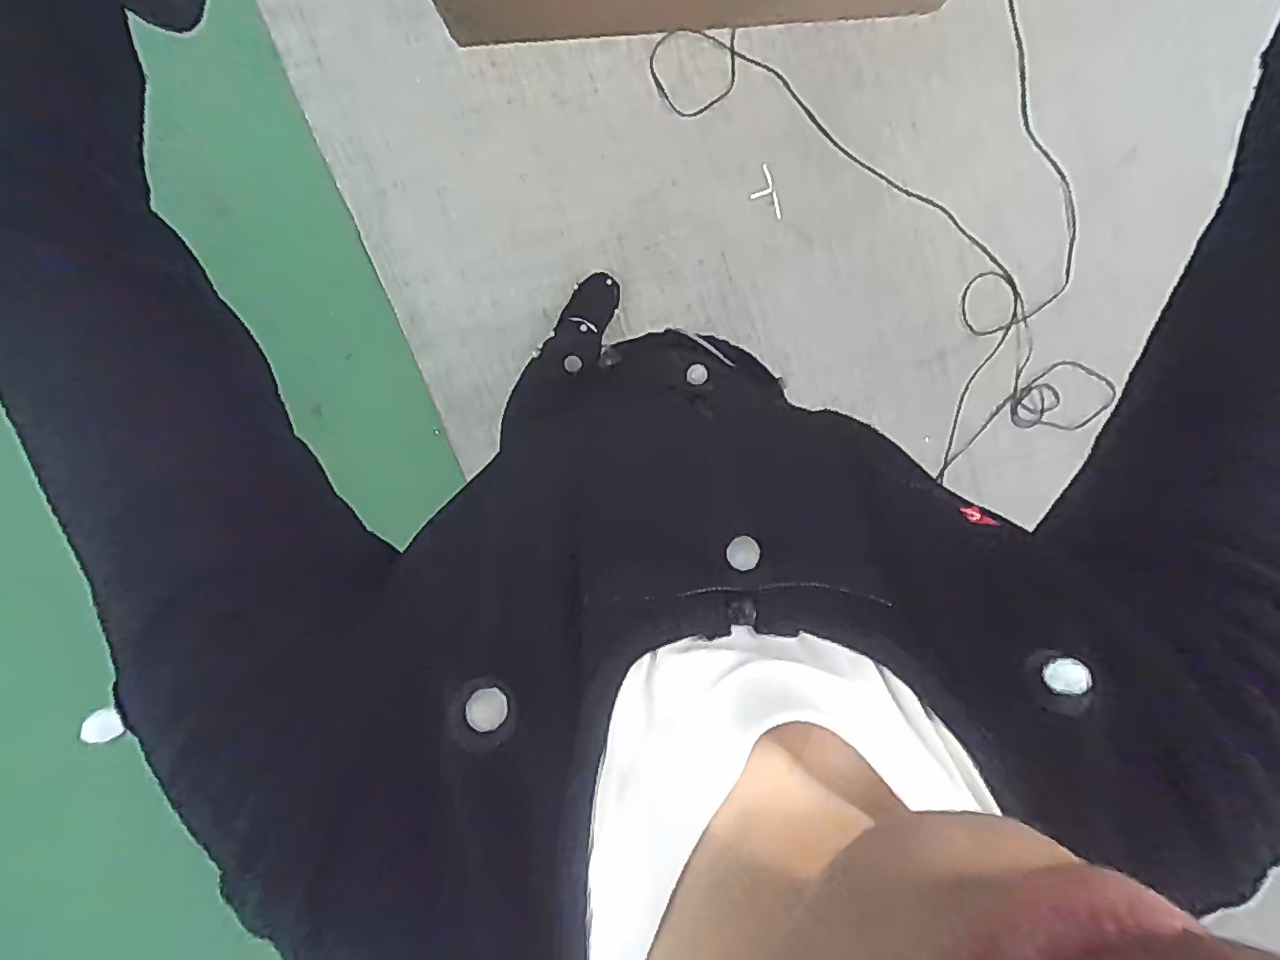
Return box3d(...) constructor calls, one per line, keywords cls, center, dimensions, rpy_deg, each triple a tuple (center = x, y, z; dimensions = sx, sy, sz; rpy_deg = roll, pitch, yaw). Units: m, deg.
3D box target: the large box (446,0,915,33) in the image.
box3d(cls="large box", center=(0.044, -0.494, 0.270), dimensions=(0.408, 0.320, 0.320), rpy_deg=(-6, 105, -3))
